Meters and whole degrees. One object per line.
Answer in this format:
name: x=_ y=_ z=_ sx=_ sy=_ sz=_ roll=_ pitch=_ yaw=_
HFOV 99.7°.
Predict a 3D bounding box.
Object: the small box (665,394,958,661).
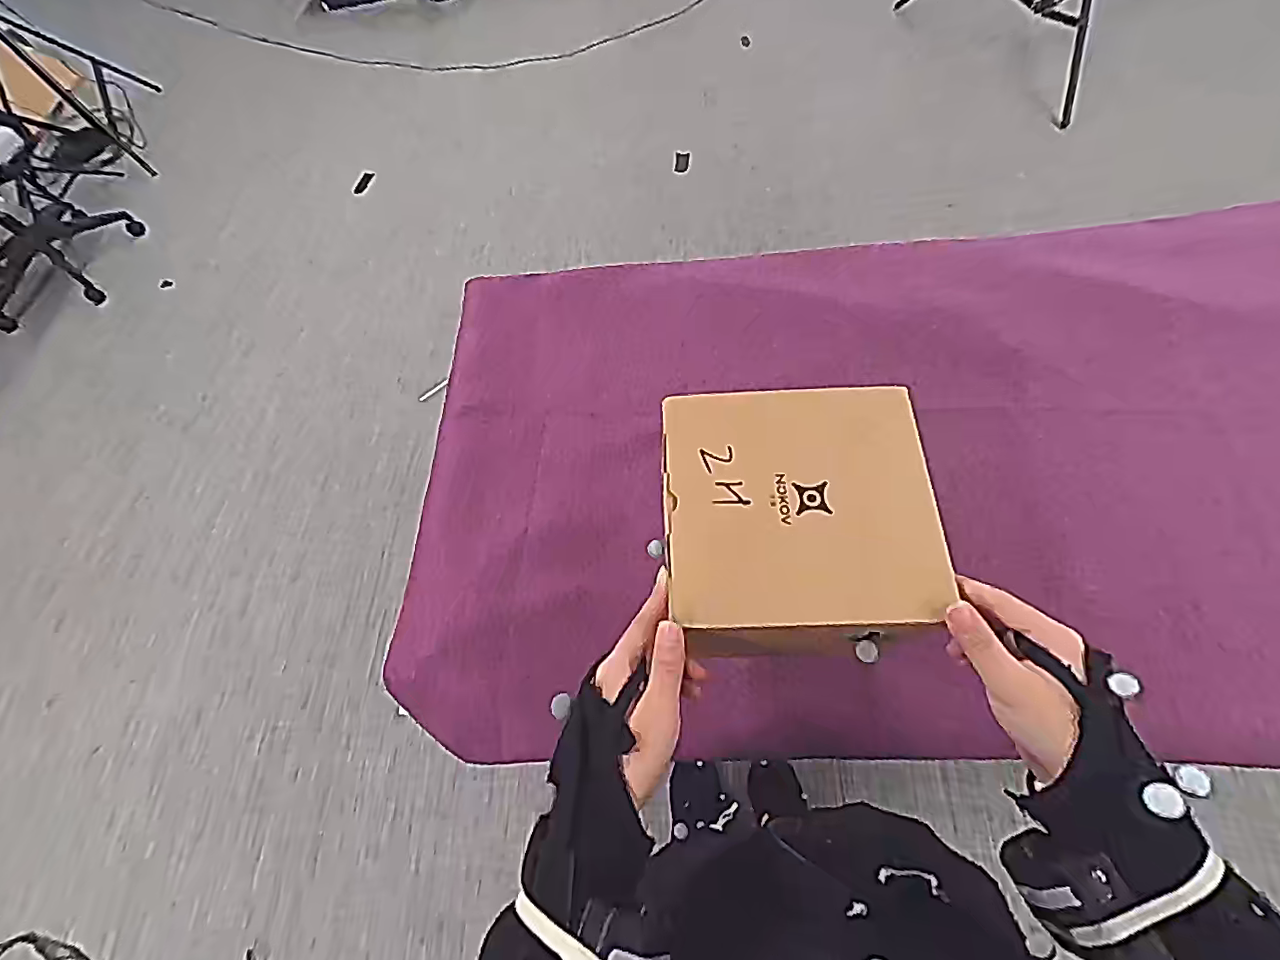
small box: x=0.109 y=0.047 z=0.431 sx=0.179 sy=0.176 sz=0.168 roll=-1 pitch=64 yaw=3
